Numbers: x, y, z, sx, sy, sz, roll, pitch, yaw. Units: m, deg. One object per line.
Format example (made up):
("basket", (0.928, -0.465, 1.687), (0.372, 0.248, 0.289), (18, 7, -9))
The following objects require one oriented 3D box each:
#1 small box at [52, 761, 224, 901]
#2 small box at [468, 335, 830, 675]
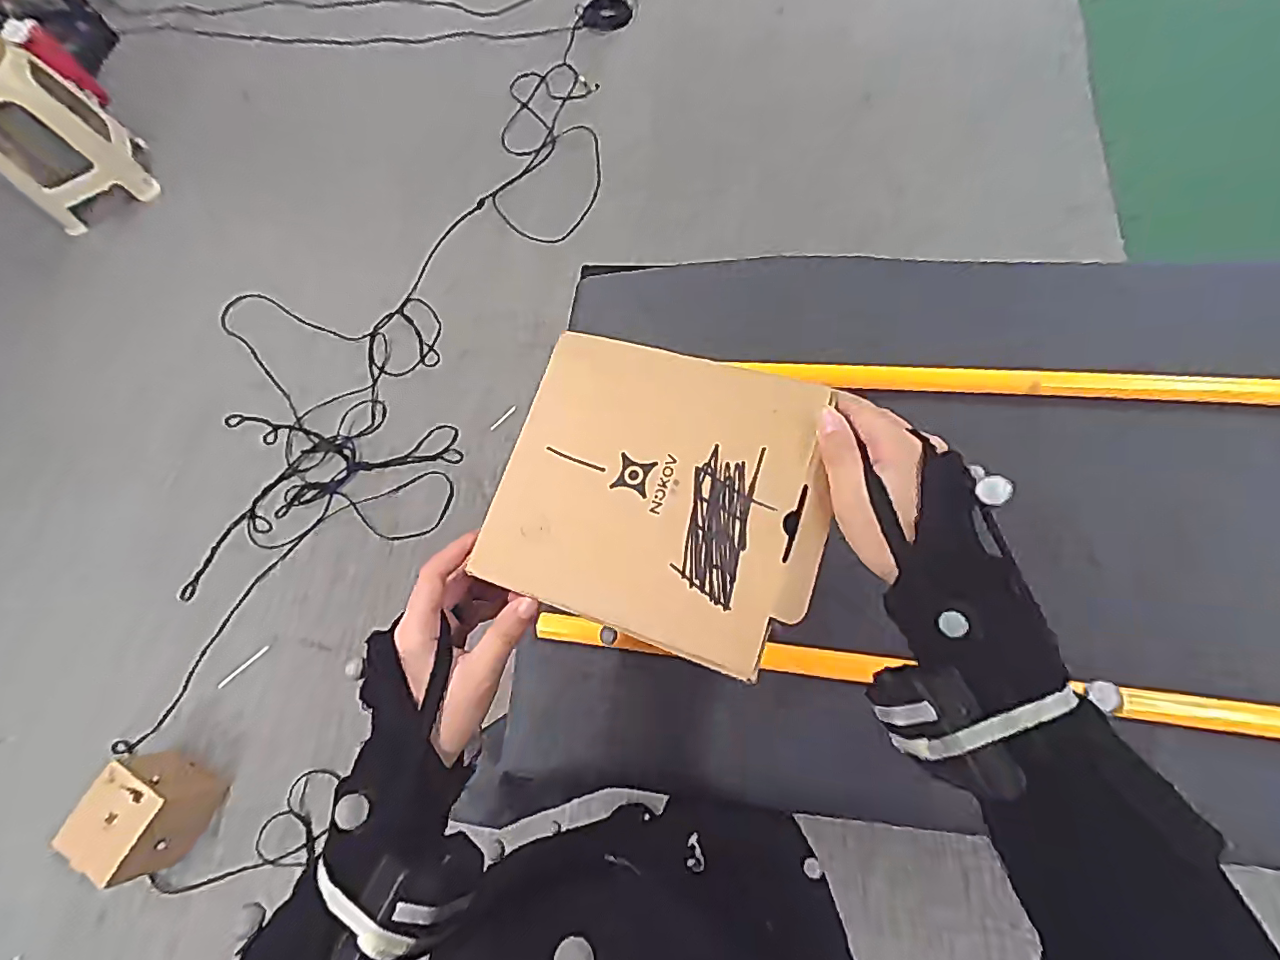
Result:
("small box", (-1.051, 0.730, 1.148), (0.168, 0.176, 0.179), (24, 73, 15))
("small box", (0.018, 0.024, 0.390), (0.179, 0.176, 0.168), (16, 77, 16))
